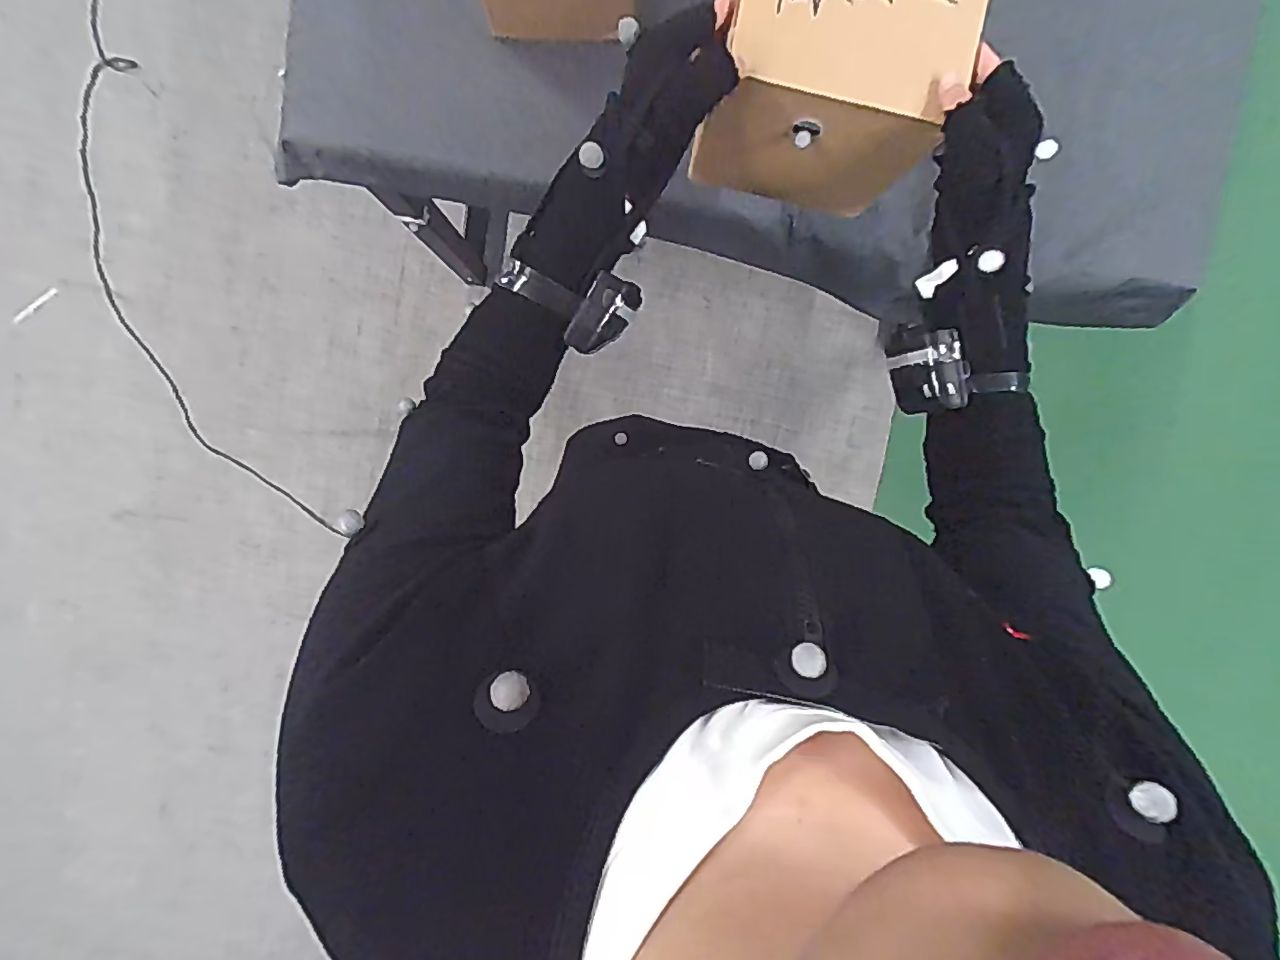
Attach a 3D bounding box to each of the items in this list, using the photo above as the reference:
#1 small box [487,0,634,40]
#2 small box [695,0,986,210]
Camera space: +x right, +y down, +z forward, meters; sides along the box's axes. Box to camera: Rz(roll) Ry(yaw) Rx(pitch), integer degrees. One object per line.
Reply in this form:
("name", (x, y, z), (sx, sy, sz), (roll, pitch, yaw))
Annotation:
("small box", (-0.092, -0.626, 0.590), (0.179, 0.176, 0.168), (0, 97, -3))
("small box", (0.152, -0.352, 0.453), (0.179, 0.176, 0.168), (10, 96, -5))
